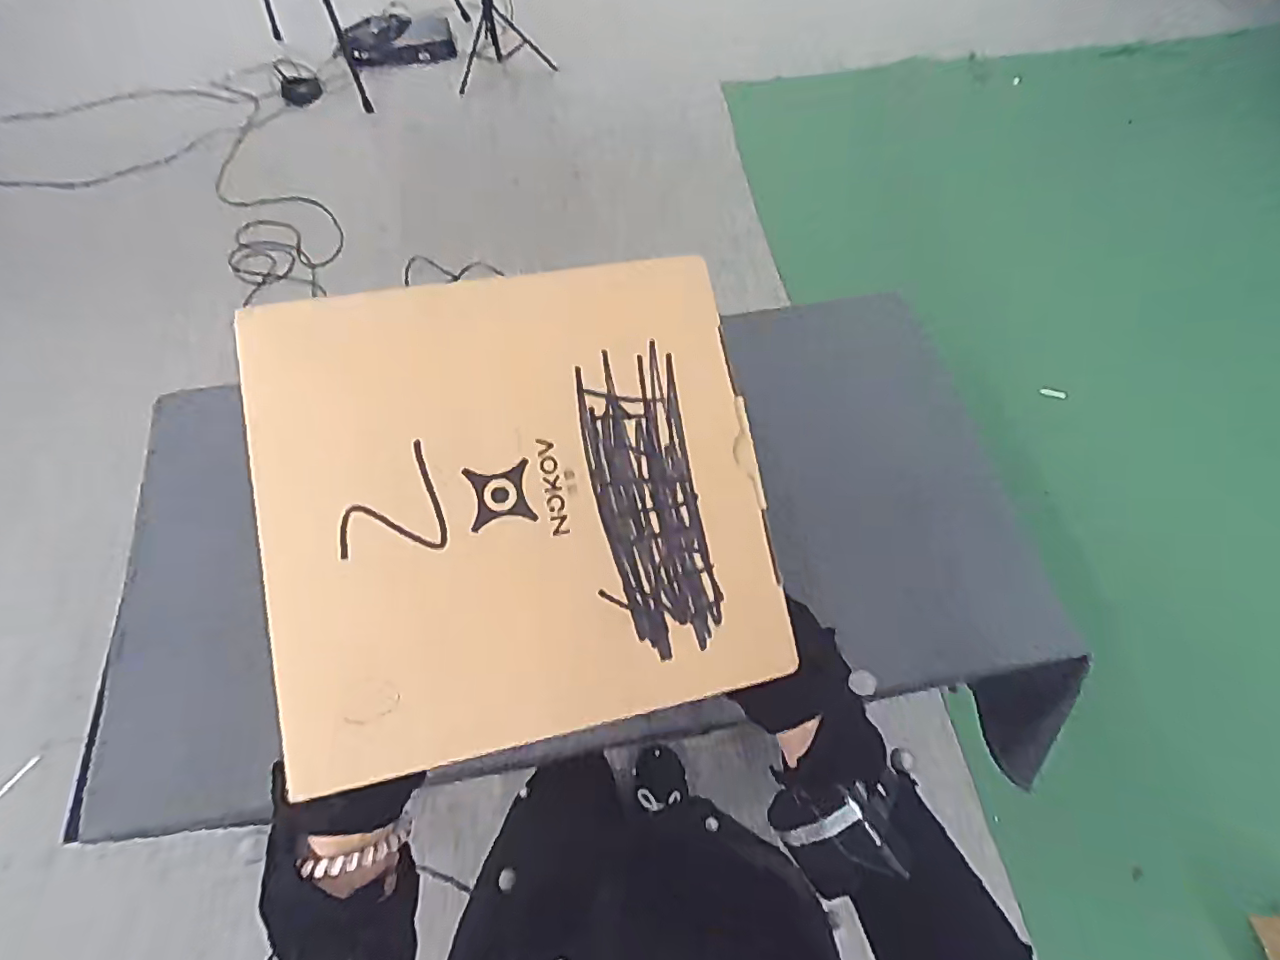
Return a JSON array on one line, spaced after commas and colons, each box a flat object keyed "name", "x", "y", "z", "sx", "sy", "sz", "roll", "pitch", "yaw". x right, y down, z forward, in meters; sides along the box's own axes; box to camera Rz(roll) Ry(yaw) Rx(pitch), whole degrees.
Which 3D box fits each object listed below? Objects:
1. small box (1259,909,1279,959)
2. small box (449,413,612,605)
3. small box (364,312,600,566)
[{"name": "small box", "x": 1.362, "y": 0.937, "z": 1.026, "sx": 0.179, "sy": 0.176, "sz": 0.168, "roll": -4, "pitch": 65, "yaw": -1}, {"name": "small box", "x": -0.128, "y": 0.041, "z": 0.665, "sx": 0.168, "sy": 0.176, "sz": 0.179, "roll": -8, "pitch": 66, "yaw": -3}, {"name": "small box", "x": -0.136, "y": -0.030, "z": 0.518, "sx": 0.179, "sy": 0.176, "sz": 0.168, "roll": -10, "pitch": 64, "yaw": -3}]
